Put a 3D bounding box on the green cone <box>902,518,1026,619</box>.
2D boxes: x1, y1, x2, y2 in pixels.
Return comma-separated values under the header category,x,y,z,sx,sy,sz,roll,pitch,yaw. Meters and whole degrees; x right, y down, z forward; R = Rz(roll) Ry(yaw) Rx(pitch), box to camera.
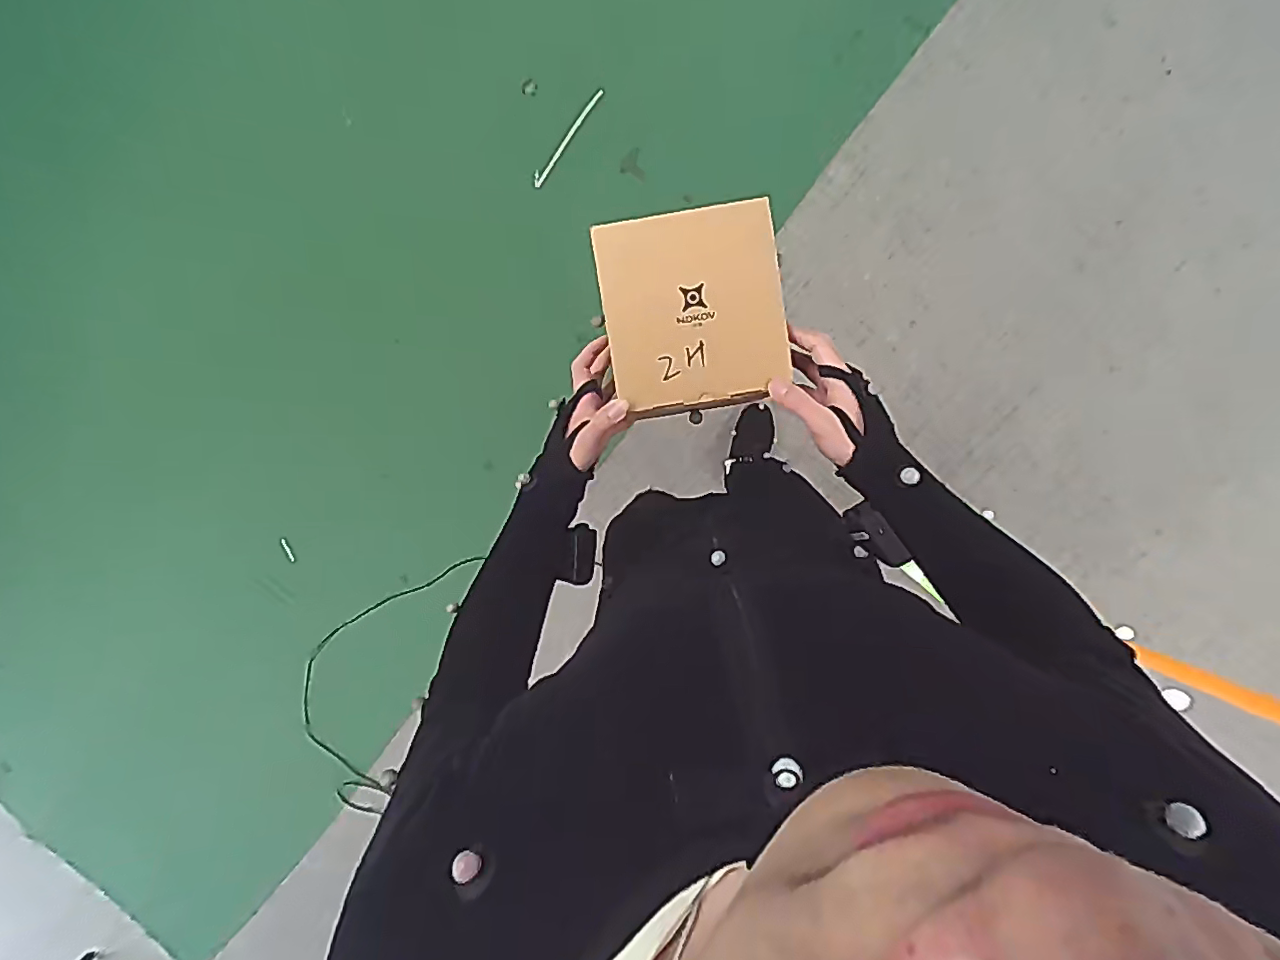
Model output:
category,x,y,z,sx,sy,sz,roll,pitch,yaw
green cone,0.840,0.254,1.339,0.200,0.368,0.202,40,102,3
